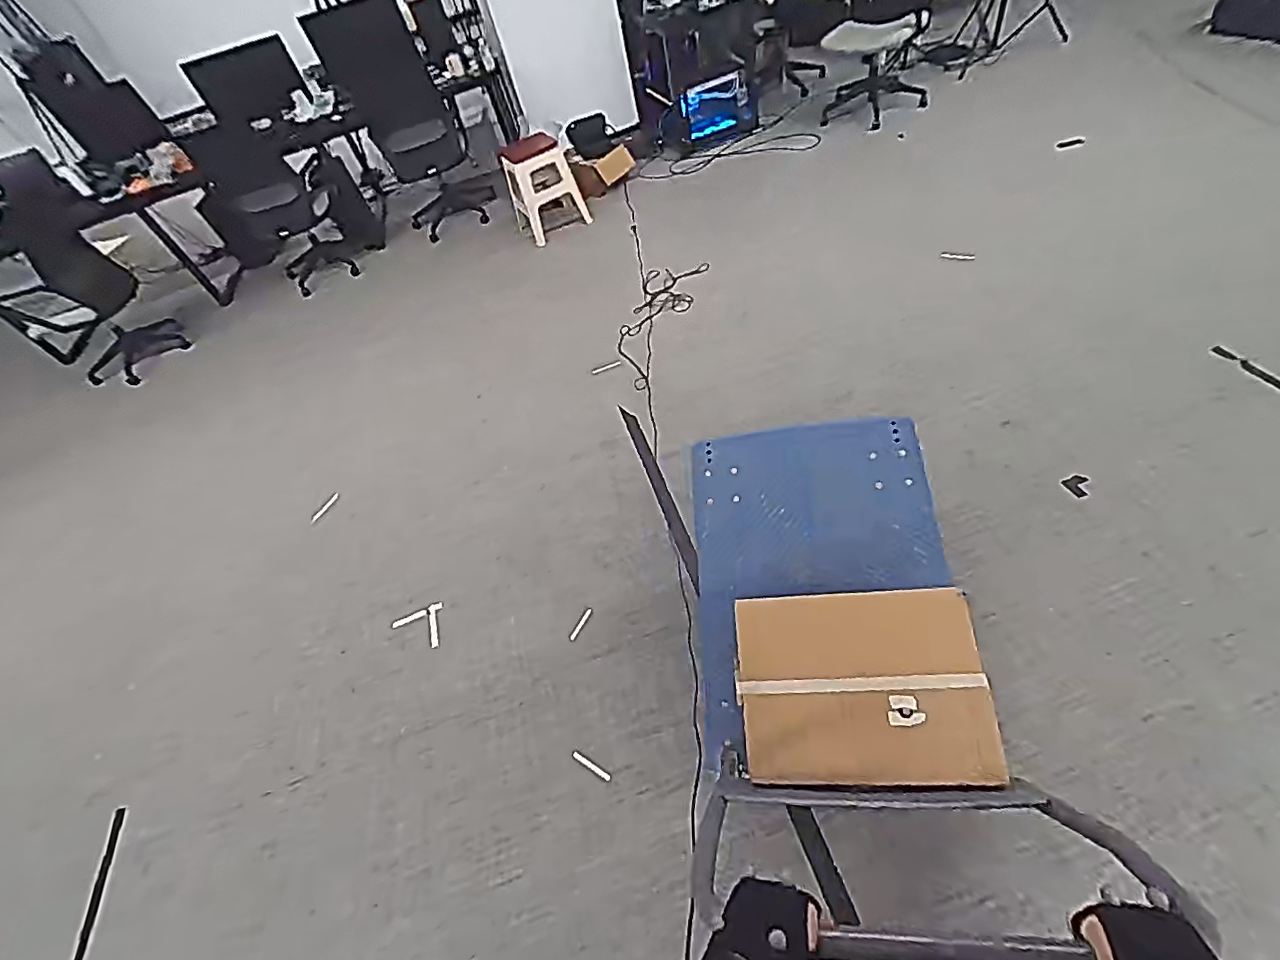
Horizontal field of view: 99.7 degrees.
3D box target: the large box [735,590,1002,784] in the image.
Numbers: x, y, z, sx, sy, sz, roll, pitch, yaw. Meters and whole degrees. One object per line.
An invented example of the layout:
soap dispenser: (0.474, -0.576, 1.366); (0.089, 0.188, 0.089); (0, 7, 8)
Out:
large box: (0.414, 0.415, 1.089); (0.408, 0.320, 0.320); (-6, 68, 11)
